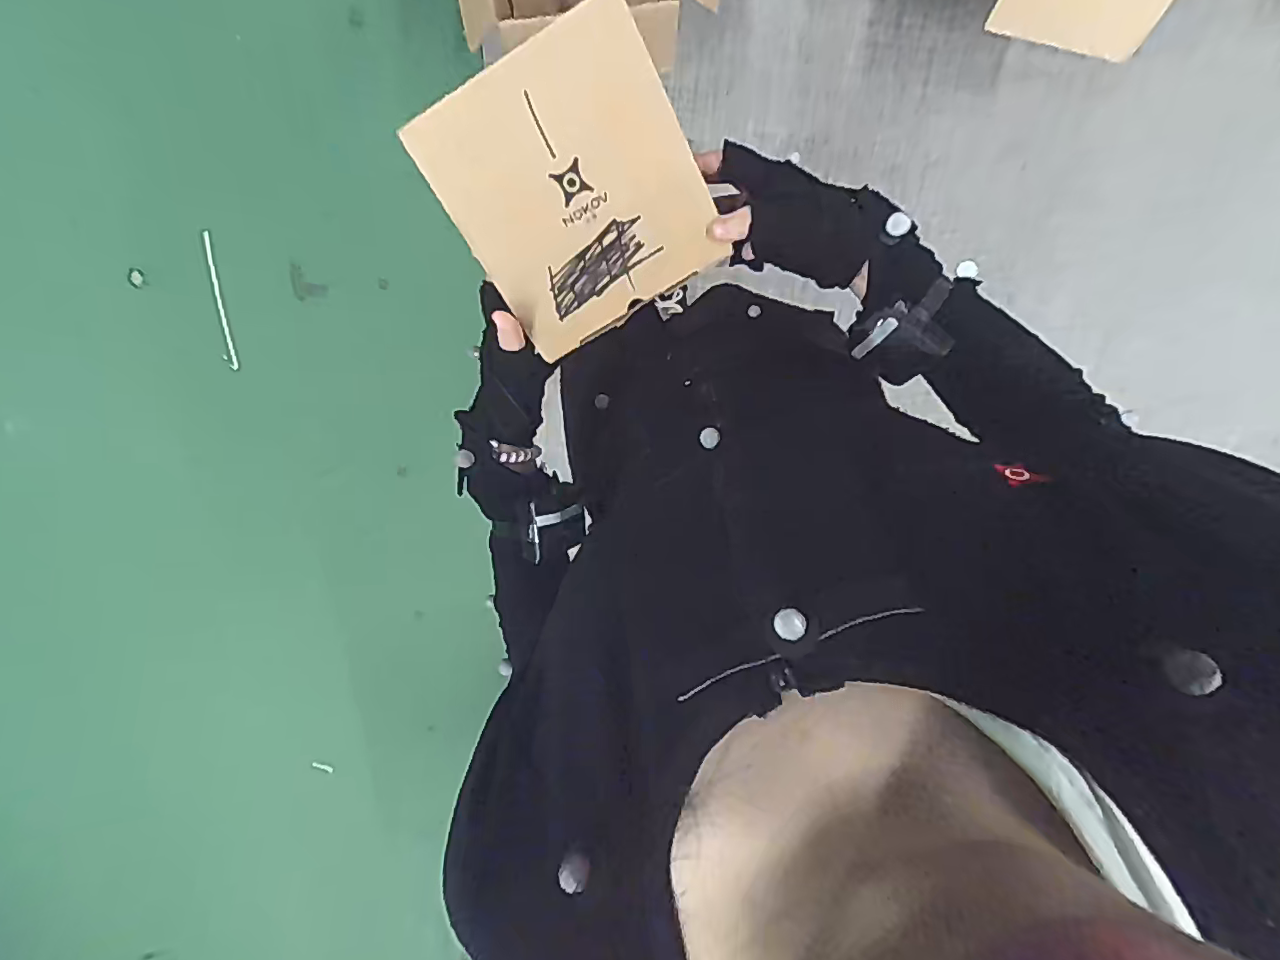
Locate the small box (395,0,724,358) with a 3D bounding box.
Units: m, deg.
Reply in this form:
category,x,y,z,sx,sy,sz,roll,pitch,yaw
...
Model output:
category,x,y,z,sx,sy,sz,roll,pitch,yaw
small box,-0.054,-0.232,0.441,0.168,0.176,0.179,-29,116,9
